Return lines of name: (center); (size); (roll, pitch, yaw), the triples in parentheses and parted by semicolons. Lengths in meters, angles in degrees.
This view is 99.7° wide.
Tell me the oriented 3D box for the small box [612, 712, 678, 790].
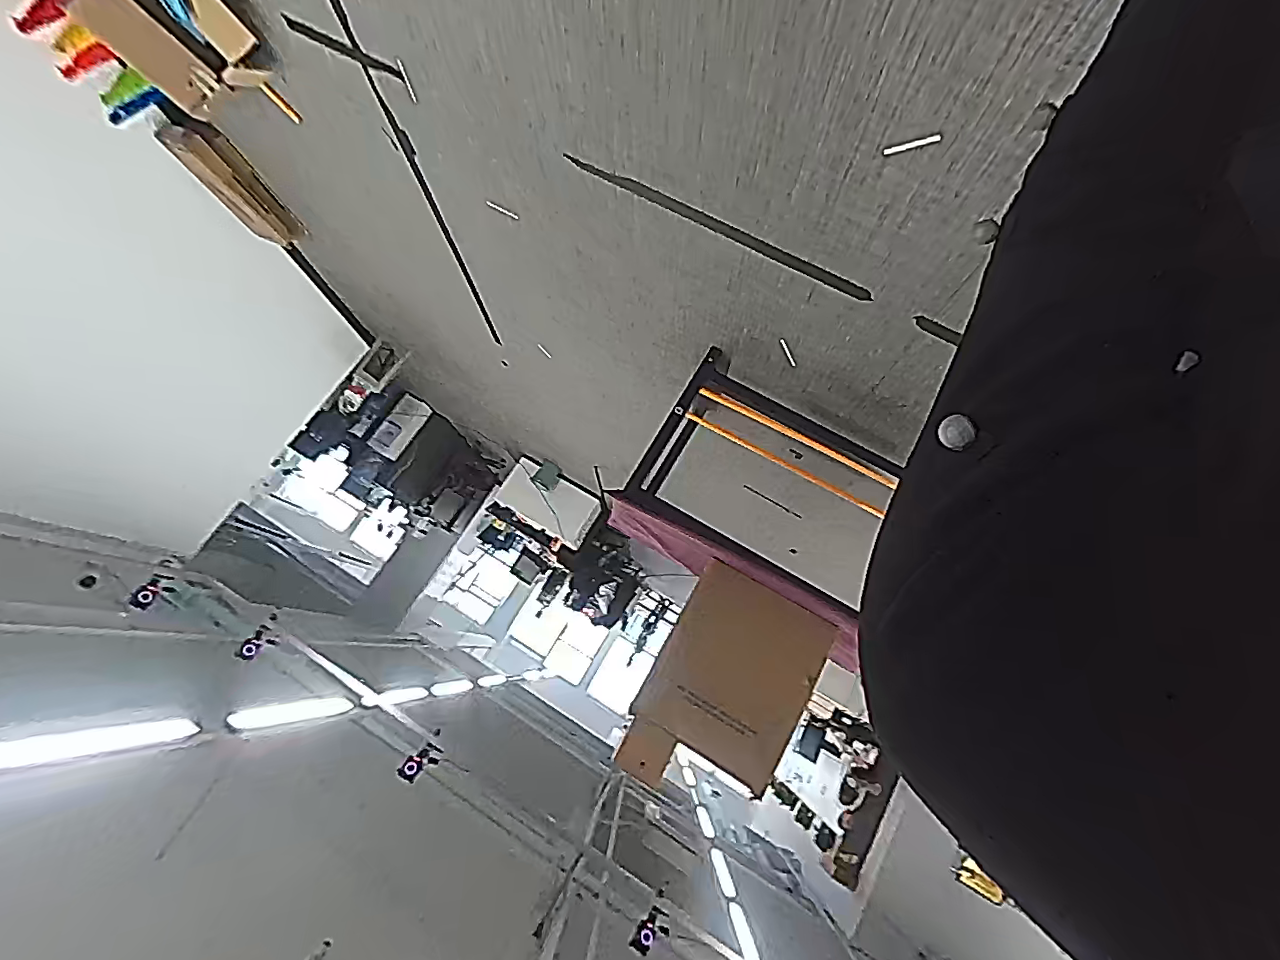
small box: (0.020, 0.944, 1.896); (0.179, 0.176, 0.168); (28, 163, 9)
